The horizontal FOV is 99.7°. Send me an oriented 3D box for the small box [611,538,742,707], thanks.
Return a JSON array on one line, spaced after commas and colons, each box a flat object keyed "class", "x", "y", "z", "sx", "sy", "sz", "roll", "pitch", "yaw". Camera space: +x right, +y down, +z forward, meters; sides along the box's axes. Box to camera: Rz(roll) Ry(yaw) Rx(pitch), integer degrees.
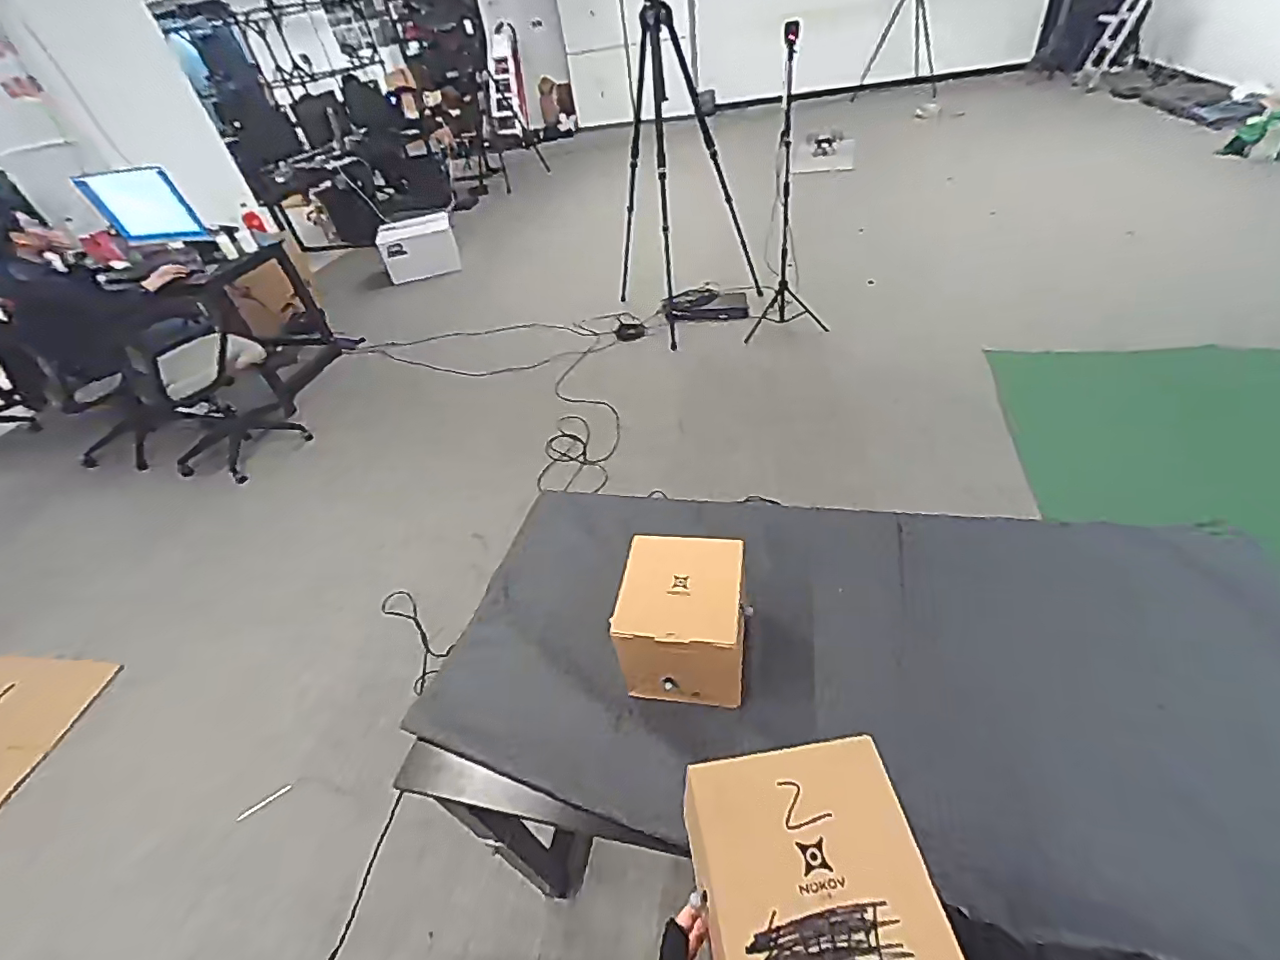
[{"class": "small box", "x": 0.064, "y": 0.211, "z": 0.810, "sx": 0.168, "sy": 0.176, "sz": 0.179, "roll": 2, "pitch": 44, "yaw": 13}]
